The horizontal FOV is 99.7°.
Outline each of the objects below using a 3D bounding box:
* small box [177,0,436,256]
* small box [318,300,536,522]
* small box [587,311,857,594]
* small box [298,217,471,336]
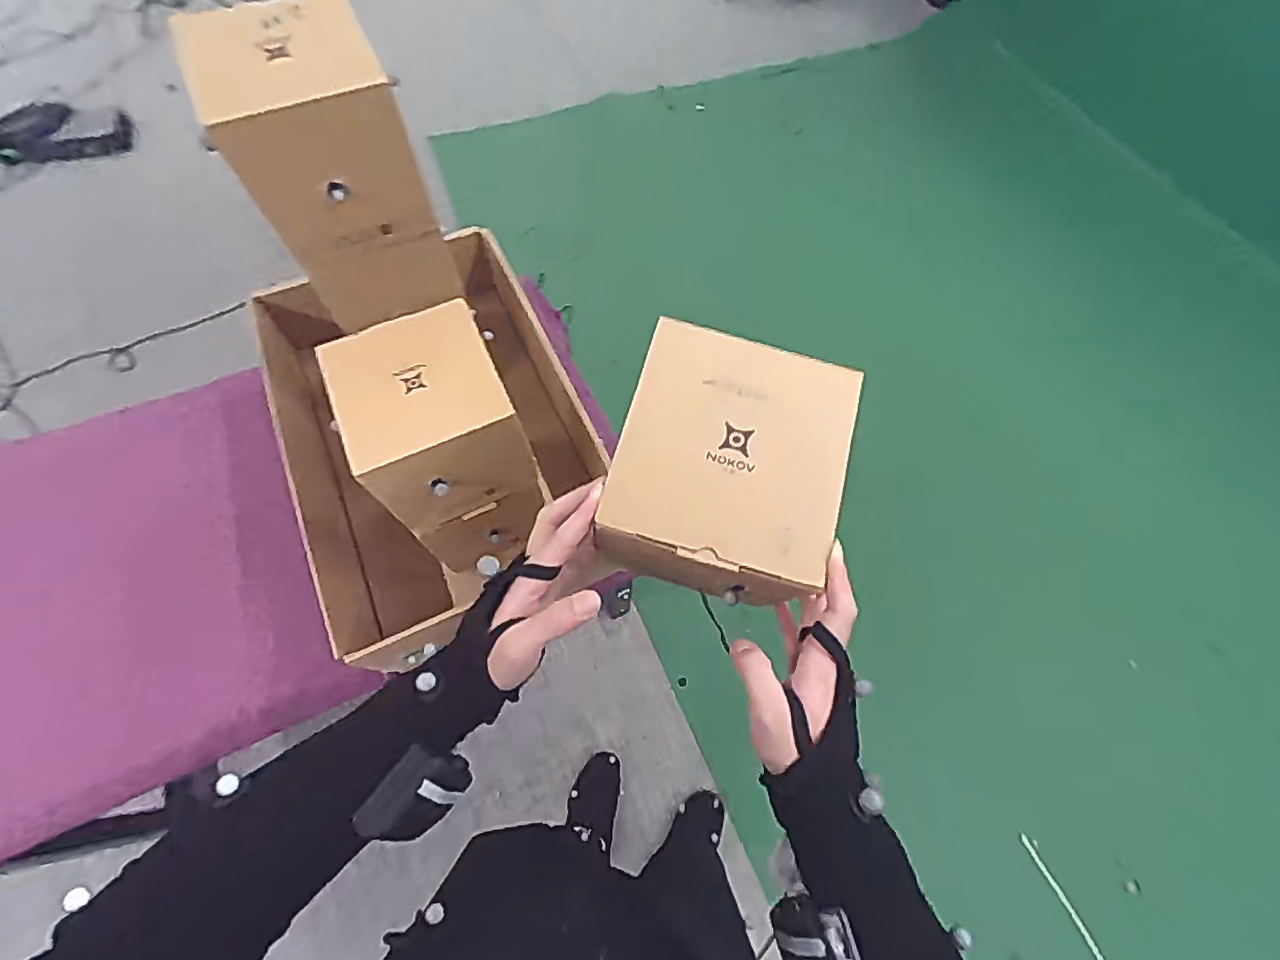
[{"bbox_3d":[-0.343,-0.371,0.585,0.168,0.176,0.179,-23,69,-13],"label":"small box"},{"bbox_3d":[-0.237,-0.068,0.635,0.168,0.176,0.179,-24,67,-11],"label":"small box"},{"bbox_3d":[0.061,-0.008,0.468,0.168,0.176,0.179,16,74,1],"label":"small box"},{"bbox_3d":[-0.352,-0.307,0.737,0.168,0.176,0.179,-25,70,-12],"label":"small box"}]
